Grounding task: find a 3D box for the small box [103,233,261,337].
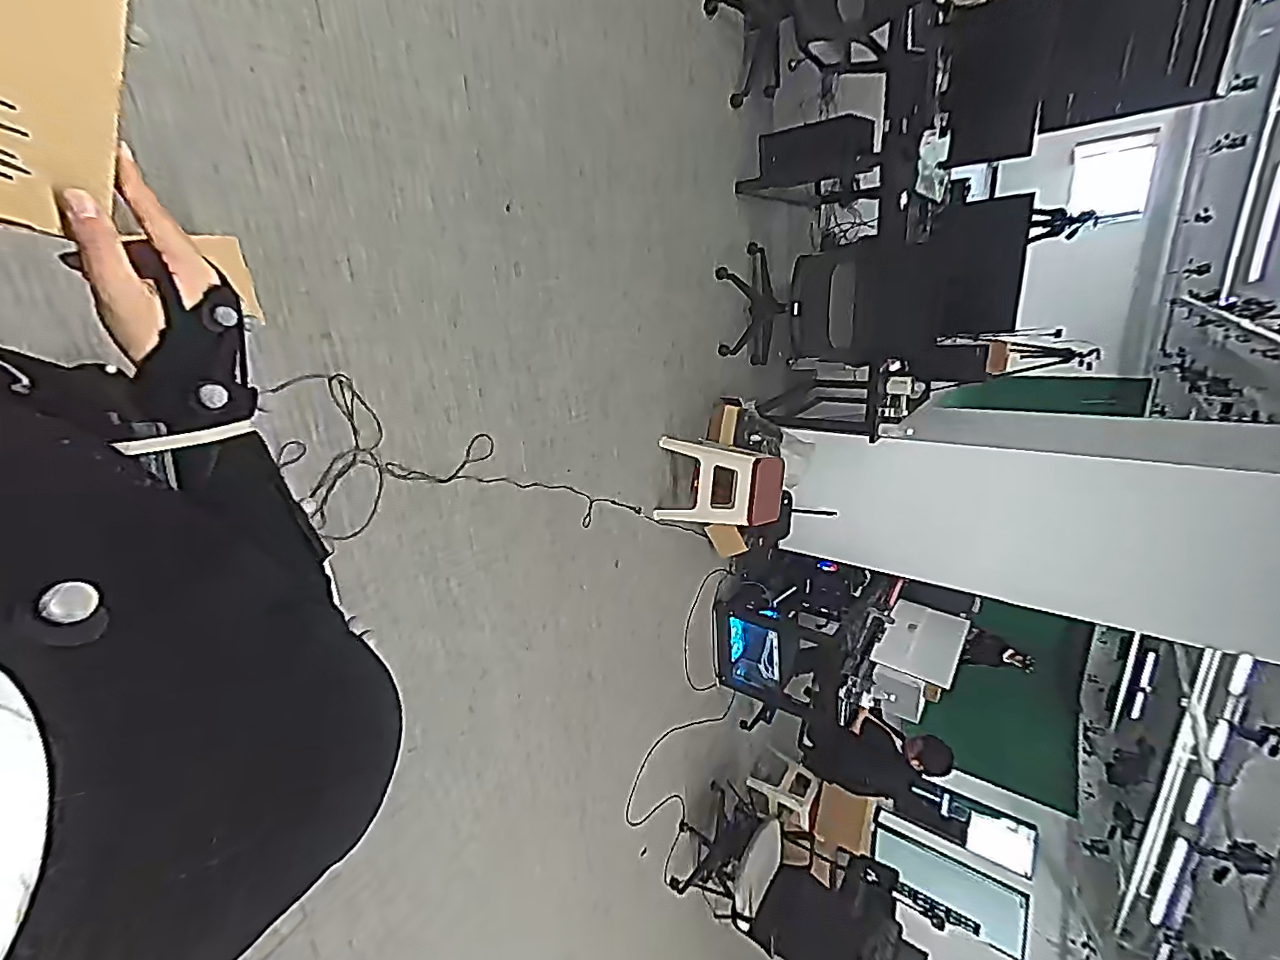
[{"bbox_3d":[-0.863,-0.363,1.018,0.179,0.176,0.168,-28,120,-47],"label":"small box"}]
